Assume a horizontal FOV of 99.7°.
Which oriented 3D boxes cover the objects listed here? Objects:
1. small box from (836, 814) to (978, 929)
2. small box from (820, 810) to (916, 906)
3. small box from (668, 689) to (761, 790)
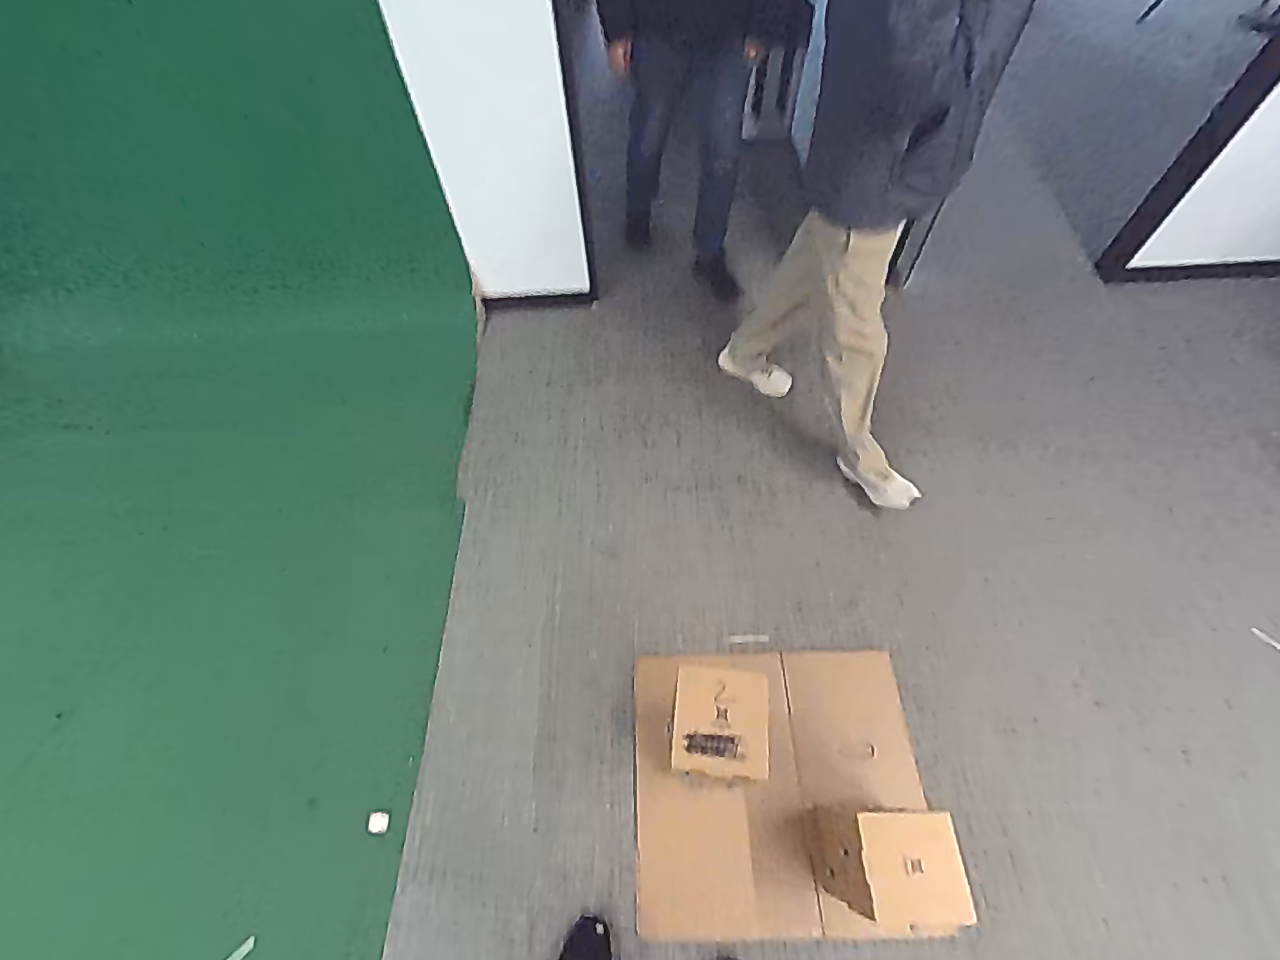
[{"bbox_3d":[0.495,0.736,1.031,0.179,0.176,0.168,-3,58,2],"label":"small box"},{"bbox_3d":[0.501,0.816,1.171,0.179,0.176,0.168,-1,58,2],"label":"small box"},{"bbox_3d":[0.155,0.556,1.152,0.179,0.176,0.168,5,57,5],"label":"small box"}]
